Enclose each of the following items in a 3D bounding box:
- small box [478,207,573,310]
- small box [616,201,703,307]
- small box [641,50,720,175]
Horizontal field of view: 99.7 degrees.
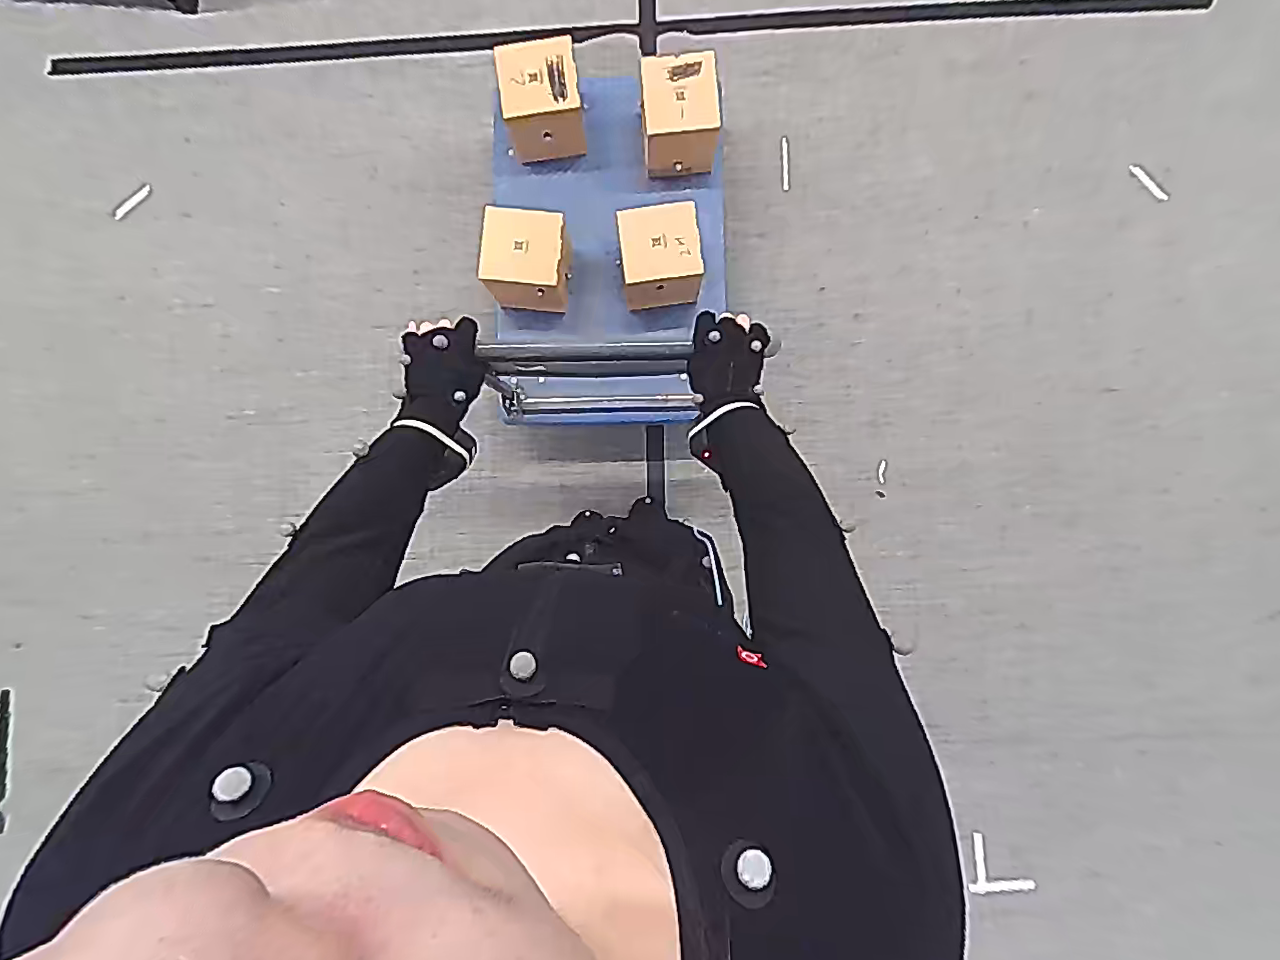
[{"bbox_3d":[-0.259,-0.507,1.258,0.179,0.176,0.168,5,88,0],"label":"small box"},{"bbox_3d":[0.045,-0.514,1.252,0.179,0.176,0.168,-7,89,1],"label":"small box"},{"bbox_3d":[0.089,-0.848,1.260,0.168,0.176,0.179,-5,89,1],"label":"small box"}]
